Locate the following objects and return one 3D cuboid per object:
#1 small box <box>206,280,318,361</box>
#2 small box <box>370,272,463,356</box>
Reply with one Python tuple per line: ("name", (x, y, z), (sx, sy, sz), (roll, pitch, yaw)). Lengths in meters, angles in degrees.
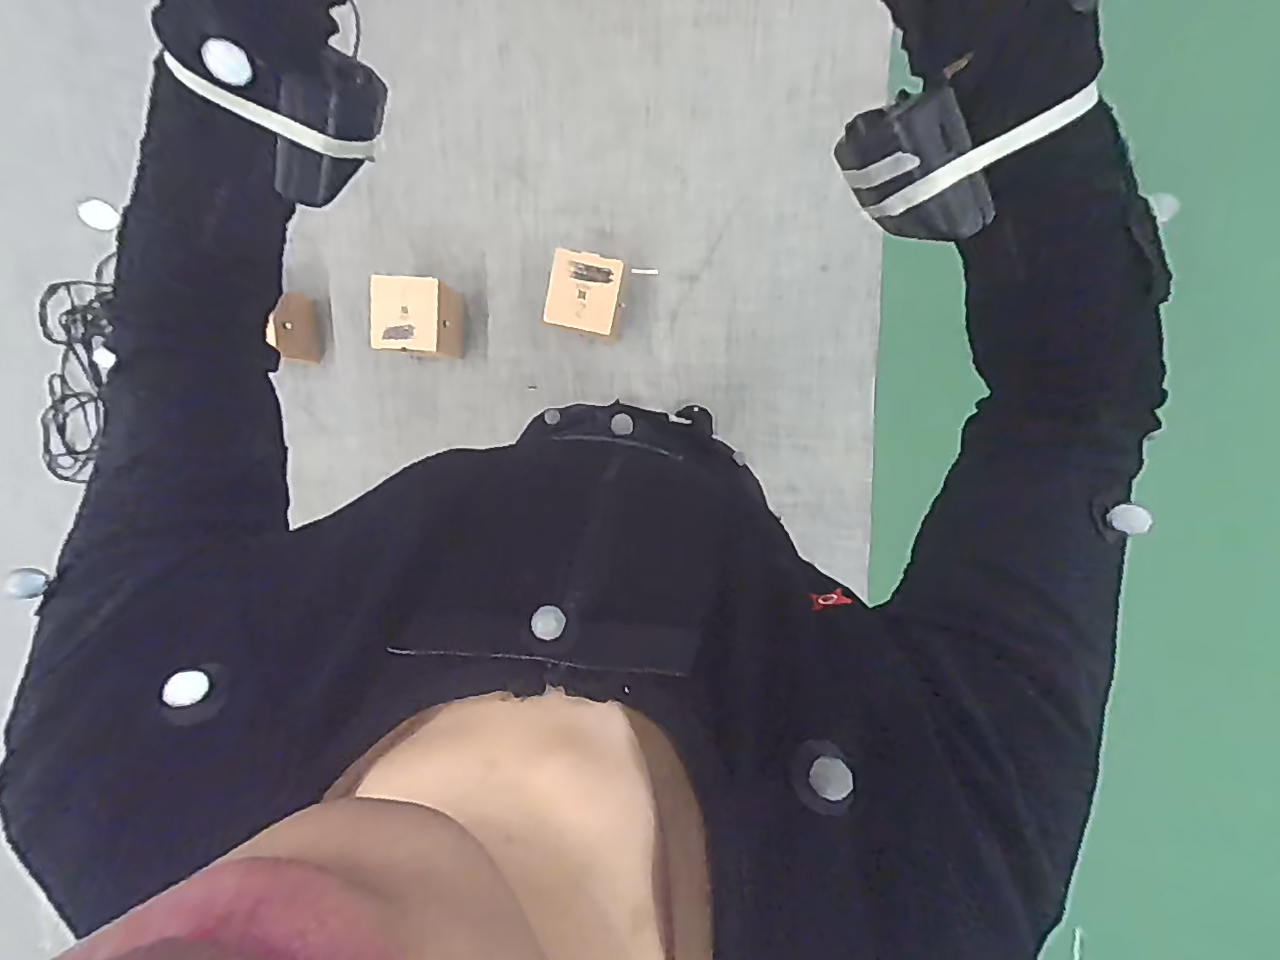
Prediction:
("small box", (-0.963, -0.404, 1.392), (0.168, 0.176, 0.179), (-1, 97, 3))
("small box", (-0.560, -0.413, 1.371), (0.168, 0.176, 0.179), (4, 97, 2))
